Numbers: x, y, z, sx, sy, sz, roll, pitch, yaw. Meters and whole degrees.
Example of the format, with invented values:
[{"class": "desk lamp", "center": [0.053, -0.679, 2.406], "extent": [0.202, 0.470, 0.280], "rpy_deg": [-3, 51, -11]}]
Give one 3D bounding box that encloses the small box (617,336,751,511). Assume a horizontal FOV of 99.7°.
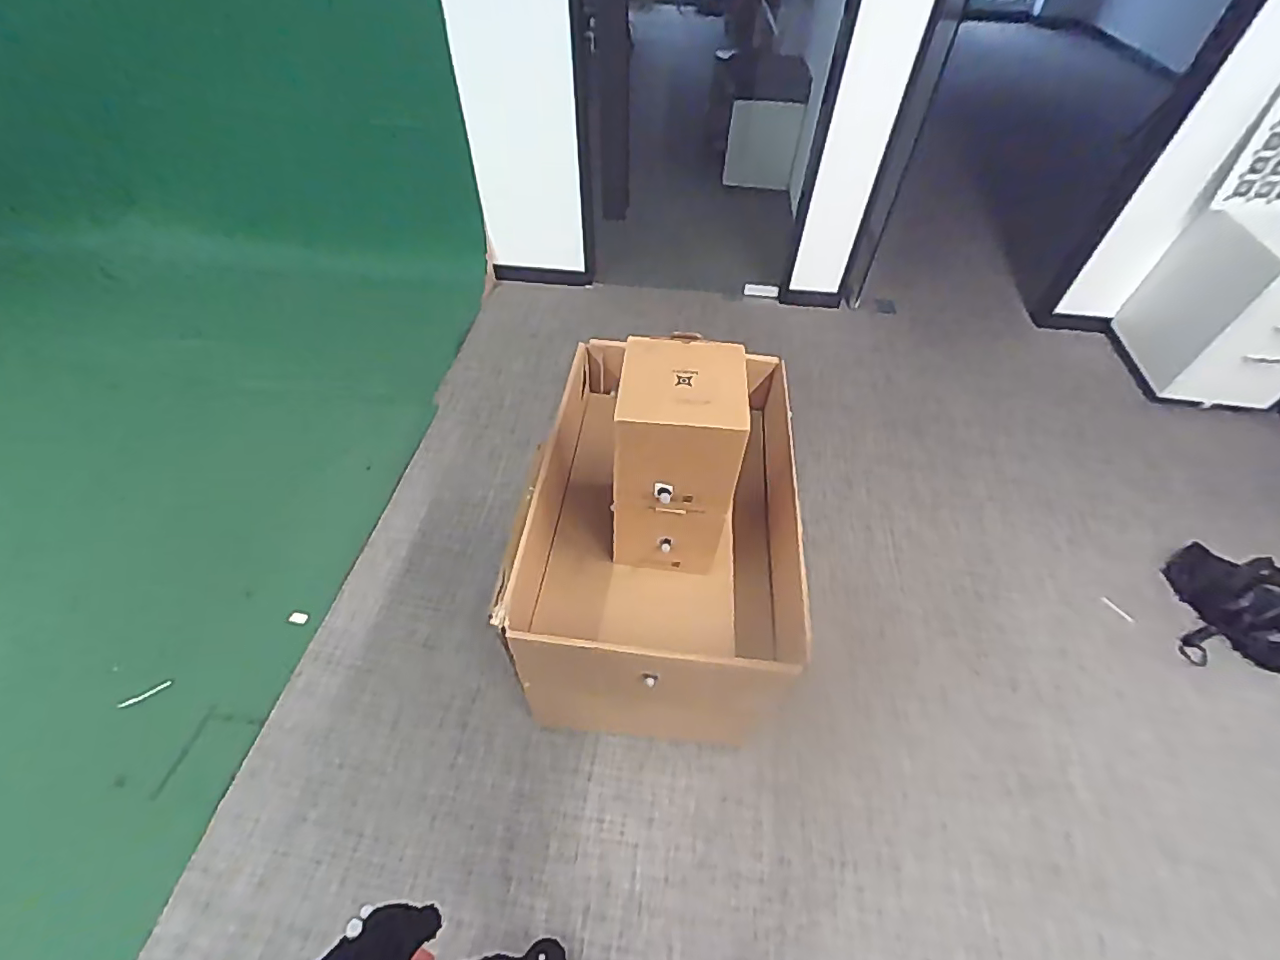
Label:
[{"class": "small box", "center": [0.056, -0.079, 0.764], "extent": [0.168, 0.176, 0.179], "rpy_deg": [4, 50, 2]}]
